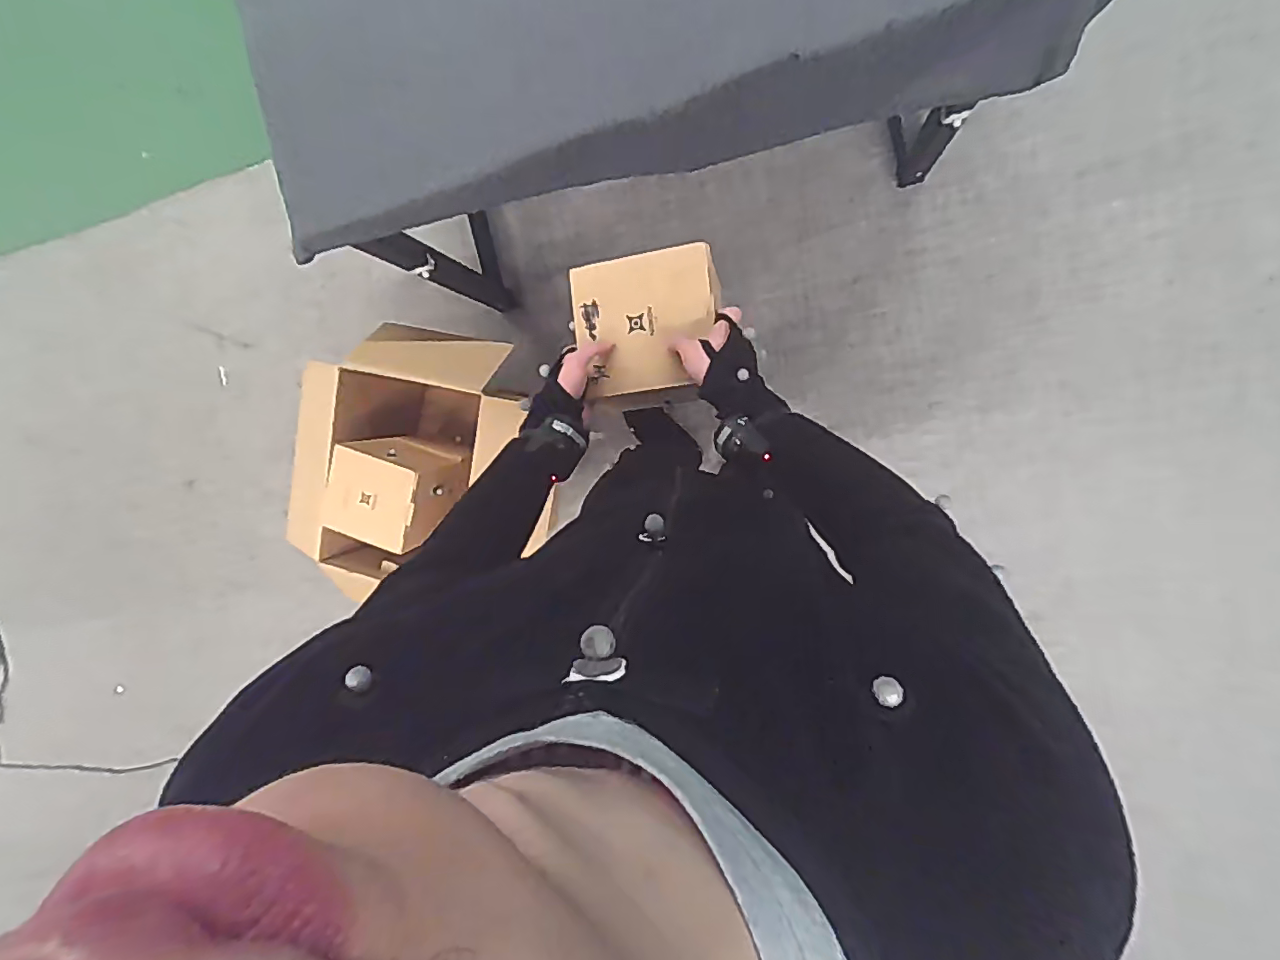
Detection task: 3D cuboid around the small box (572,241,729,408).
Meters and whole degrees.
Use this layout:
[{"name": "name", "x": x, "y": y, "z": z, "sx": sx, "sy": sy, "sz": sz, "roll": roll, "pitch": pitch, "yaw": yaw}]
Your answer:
[{"name": "small box", "x": 0.025, "y": -0.193, "z": 0.723, "sx": 0.179, "sy": 0.176, "sz": 0.168, "roll": -6, "pitch": 91, "yaw": 13}]
